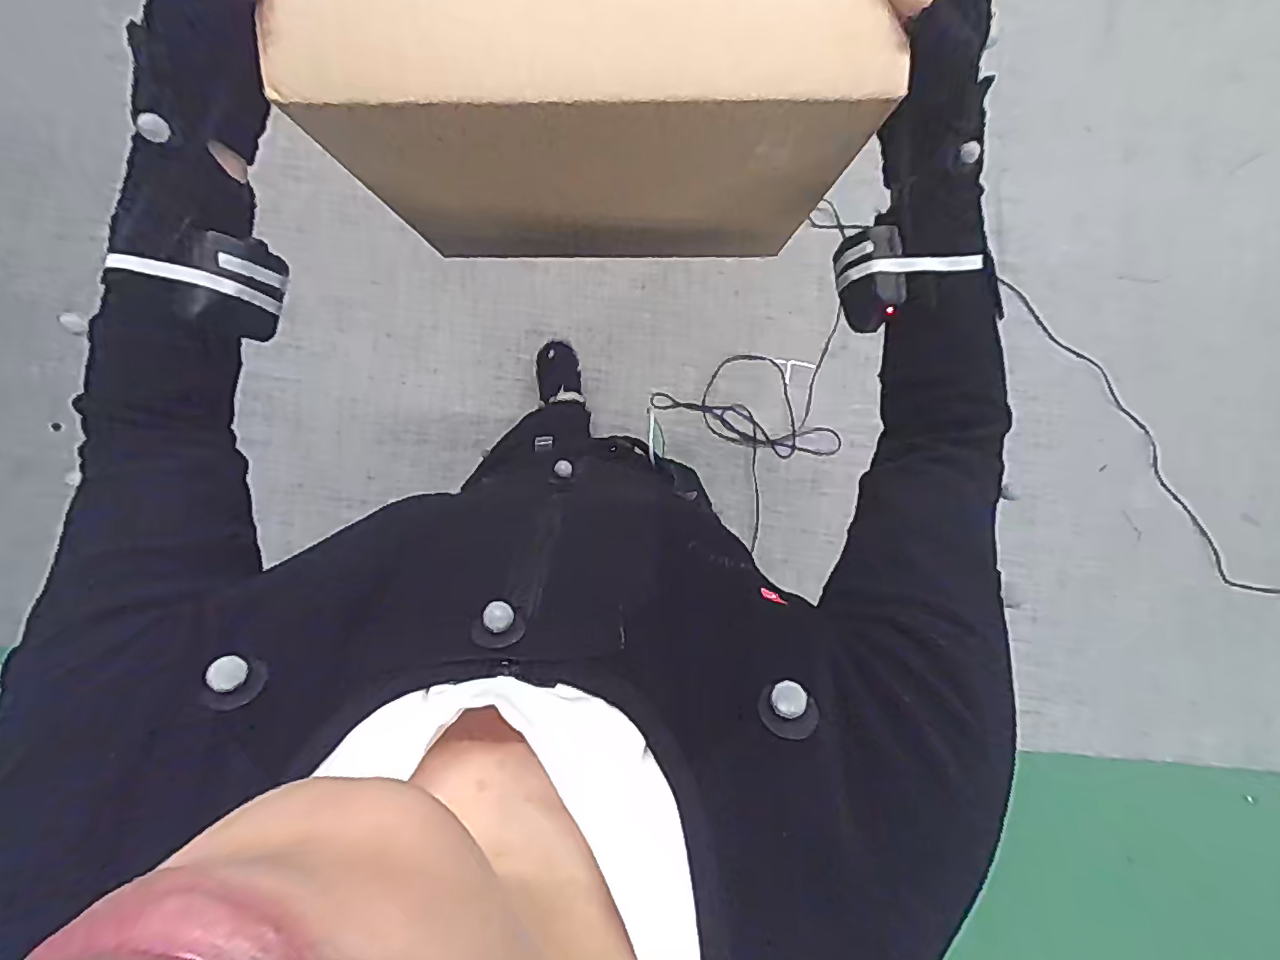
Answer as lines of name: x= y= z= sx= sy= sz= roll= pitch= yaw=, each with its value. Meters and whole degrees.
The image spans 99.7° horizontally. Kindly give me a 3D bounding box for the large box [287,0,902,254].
large box: x=-0.035 y=-0.415 z=0.490 sx=0.408 sy=0.320 sz=0.320 roll=-1 pitch=95 yaw=-2
